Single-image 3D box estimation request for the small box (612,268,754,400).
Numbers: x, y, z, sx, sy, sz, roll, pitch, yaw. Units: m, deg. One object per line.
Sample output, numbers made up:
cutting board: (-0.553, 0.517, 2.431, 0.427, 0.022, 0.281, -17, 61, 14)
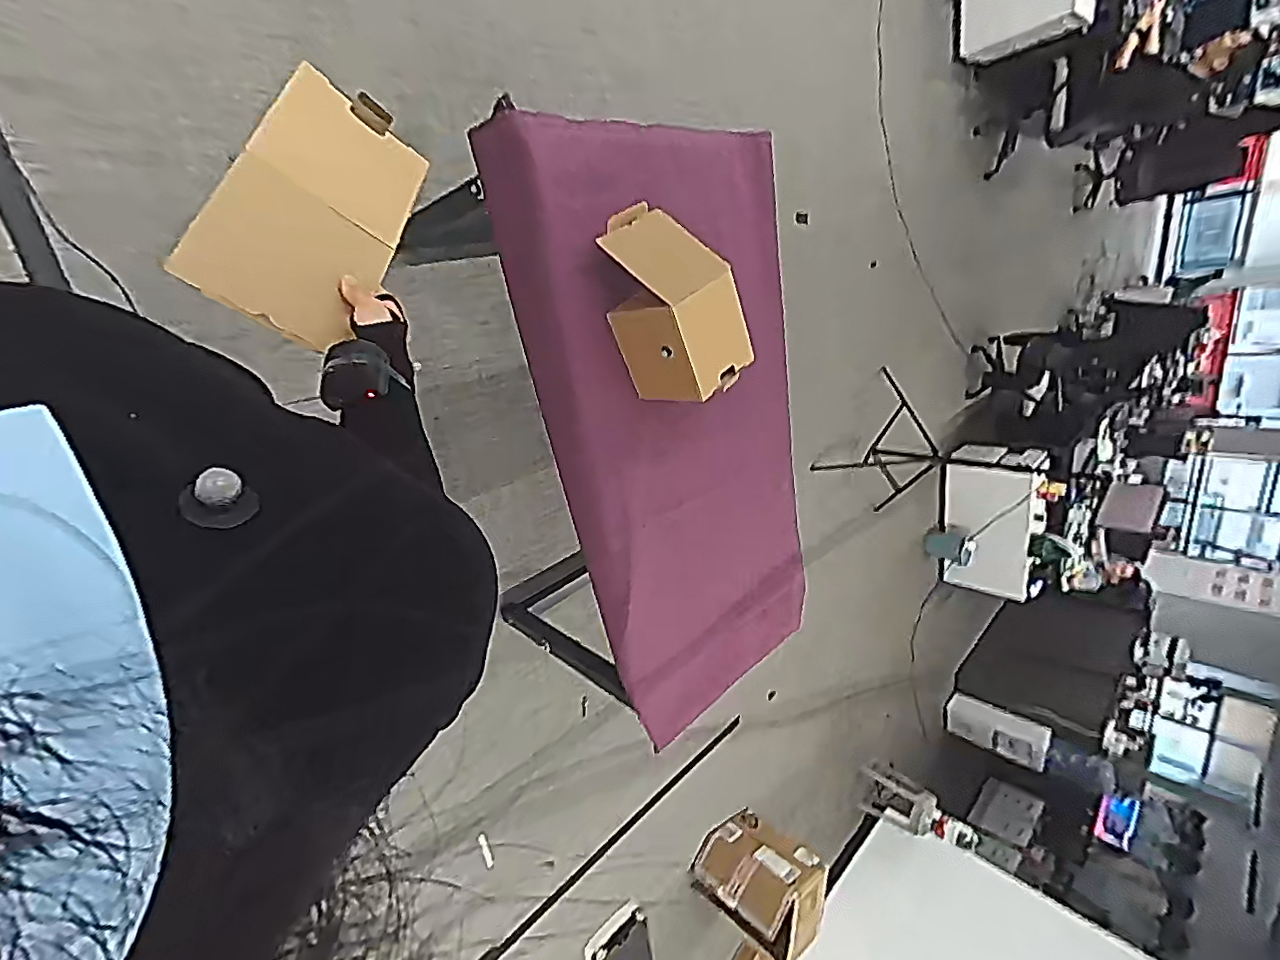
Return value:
small box: (0.076, -0.260, 0.979, 0.168, 0.176, 0.179, -40, 124, -29)
